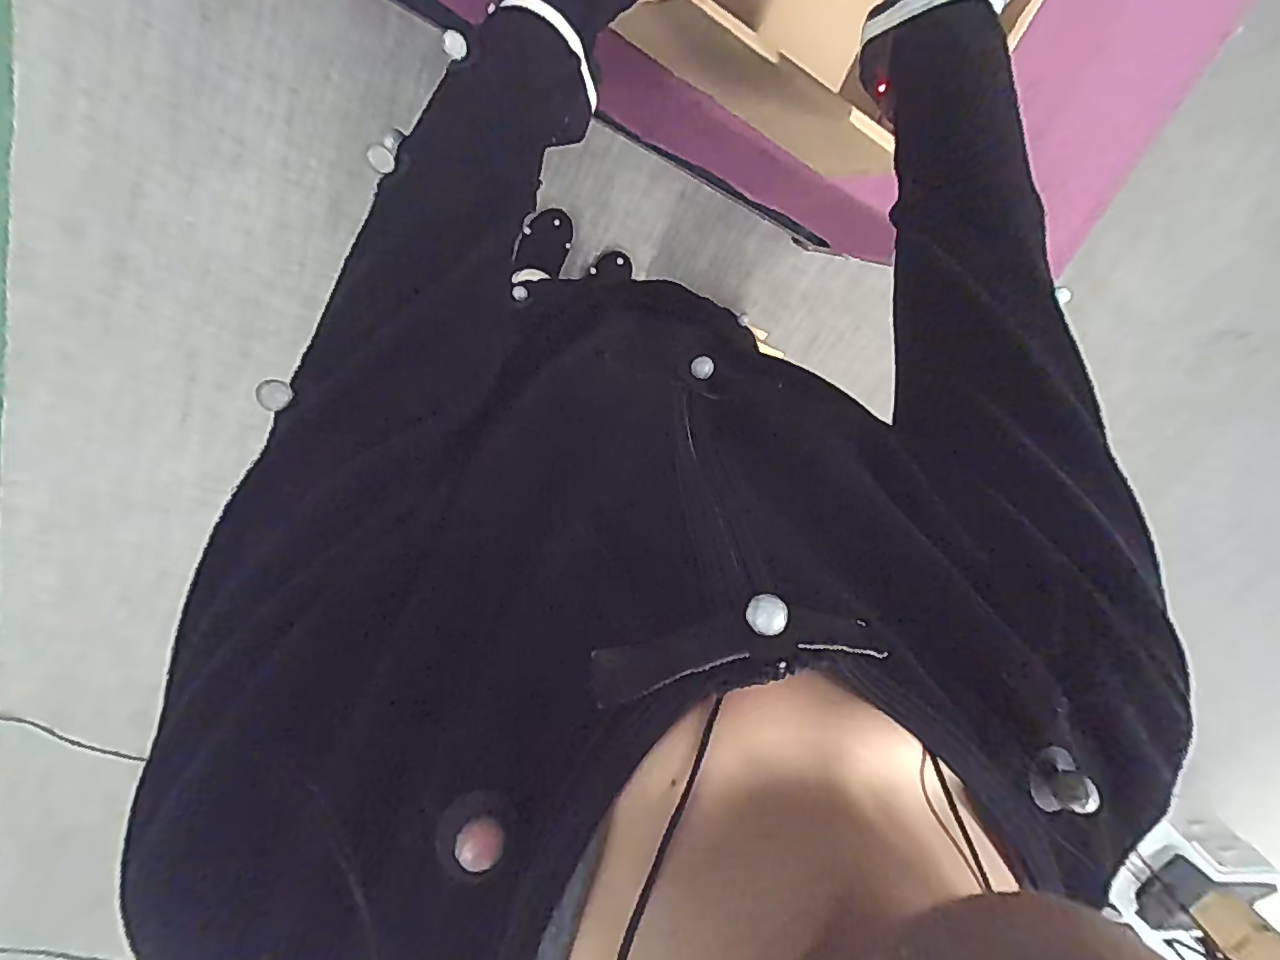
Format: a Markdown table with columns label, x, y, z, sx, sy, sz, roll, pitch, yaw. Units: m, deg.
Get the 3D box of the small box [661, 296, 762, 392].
| label | x | y | z | sx | sy | sz | roll | pitch | yaw |
| --- | --- | --- | --- | --- | --- | --- | --- | --- | --- |
| small box | 0.175 | -0.352 | 1.380 | 0.179 | 0.176 | 0.168 | 19 | 112 | -18 |
